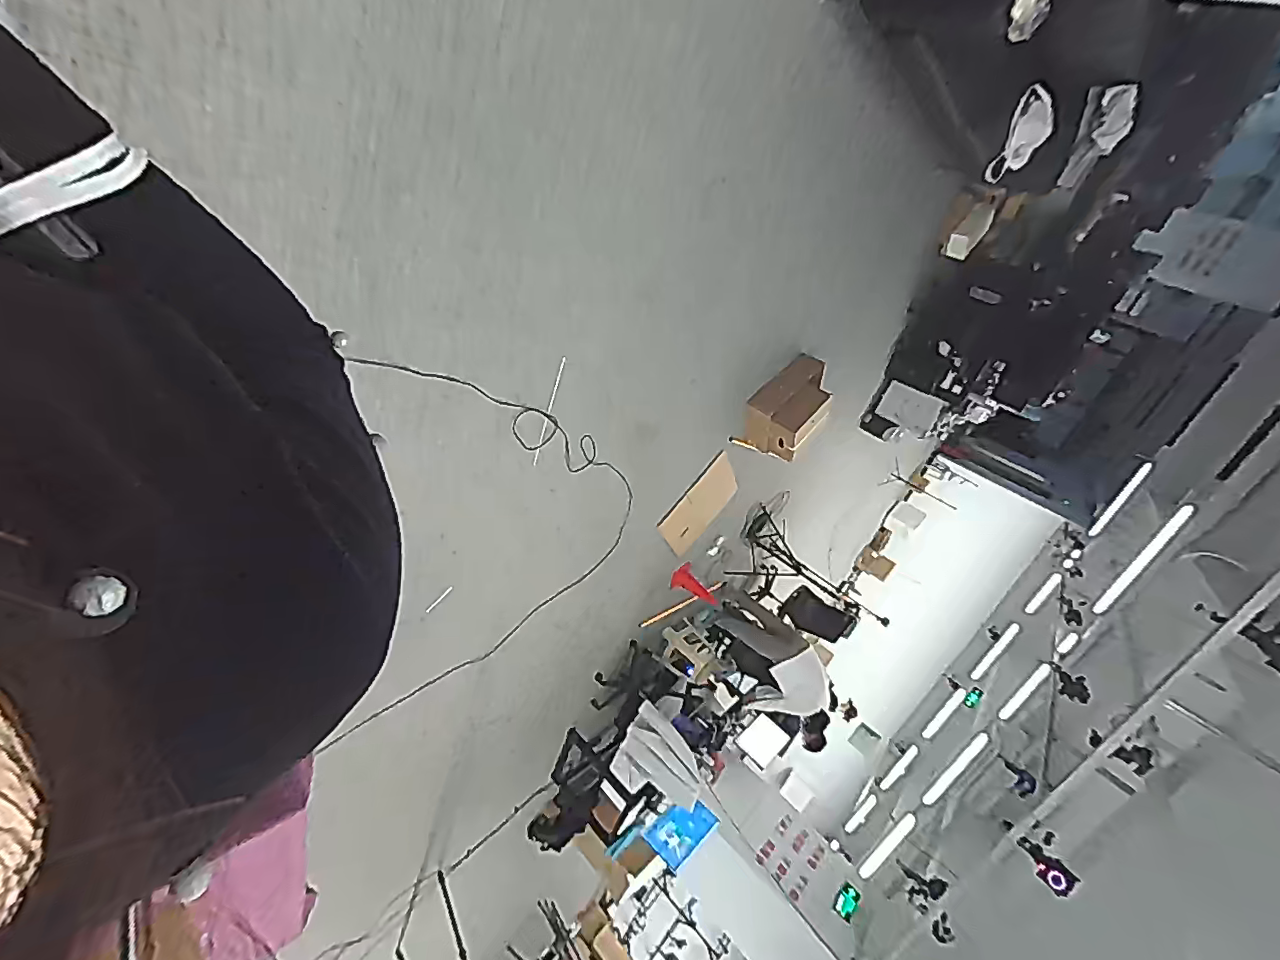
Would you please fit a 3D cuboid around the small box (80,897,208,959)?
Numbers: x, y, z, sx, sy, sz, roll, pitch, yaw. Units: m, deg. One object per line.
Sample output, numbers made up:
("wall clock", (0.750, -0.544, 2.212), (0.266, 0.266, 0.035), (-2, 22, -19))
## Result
("small box", (-0.919, 0.939, 0.998), (0.179, 0.176, 0.168), (-15, 134, -48))
